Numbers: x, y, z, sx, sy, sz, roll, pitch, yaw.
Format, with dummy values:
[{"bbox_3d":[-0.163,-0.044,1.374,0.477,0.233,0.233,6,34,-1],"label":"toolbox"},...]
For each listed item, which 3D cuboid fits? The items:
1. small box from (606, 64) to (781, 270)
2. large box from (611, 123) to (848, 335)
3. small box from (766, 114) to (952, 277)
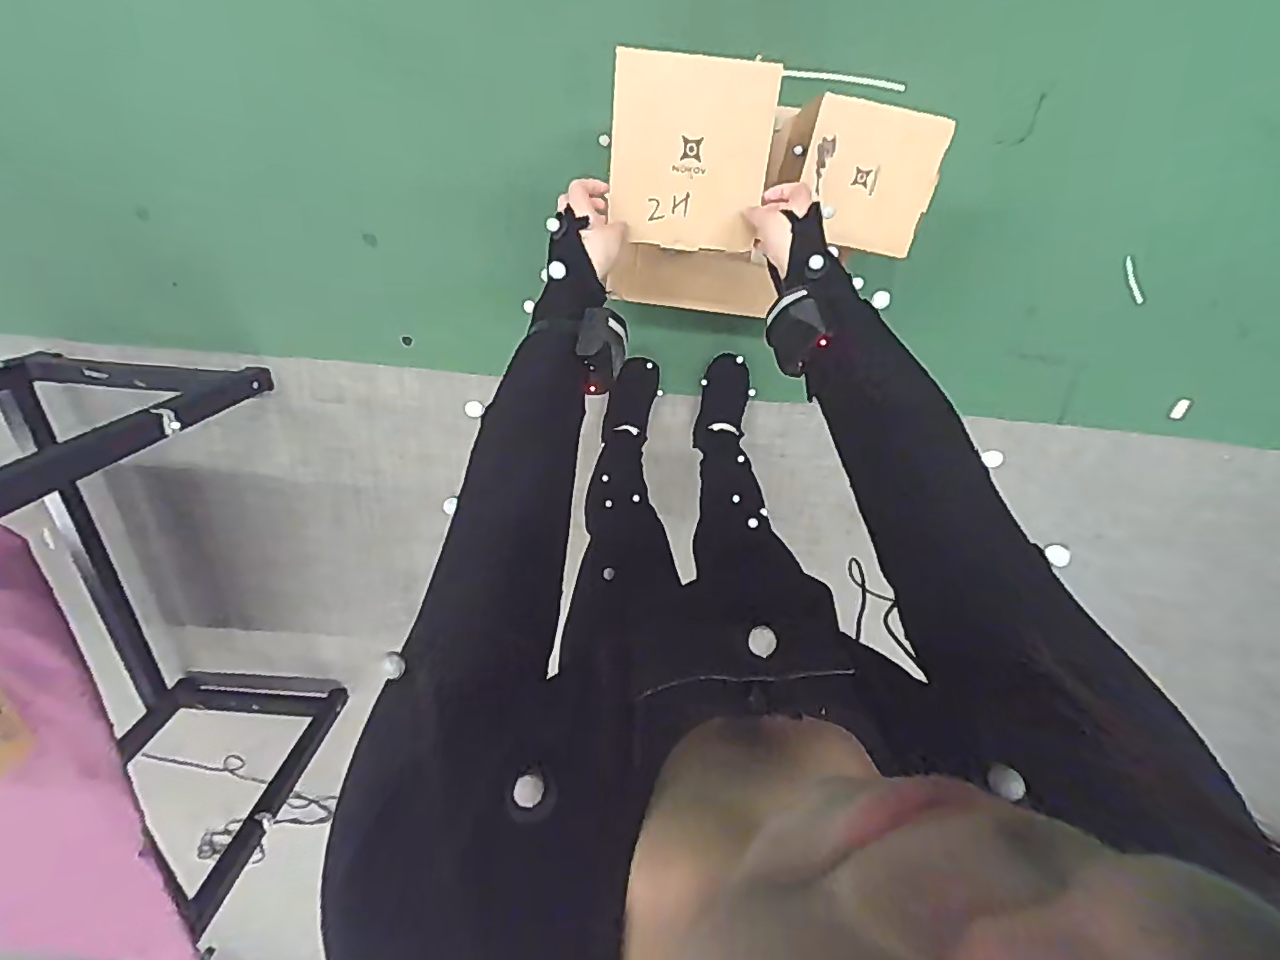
[{"bbox_3d":[0.051,-0.352,0.633,0.168,0.176,0.179,5,116,-1],"label":"small box"},{"bbox_3d":[0.158,-0.473,1.023,0.408,0.320,0.320,6,116,-2],"label":"large box"},{"bbox_3d":[0.299,-0.403,0.782,0.179,0.176,0.168,11,115,-2],"label":"small box"}]
